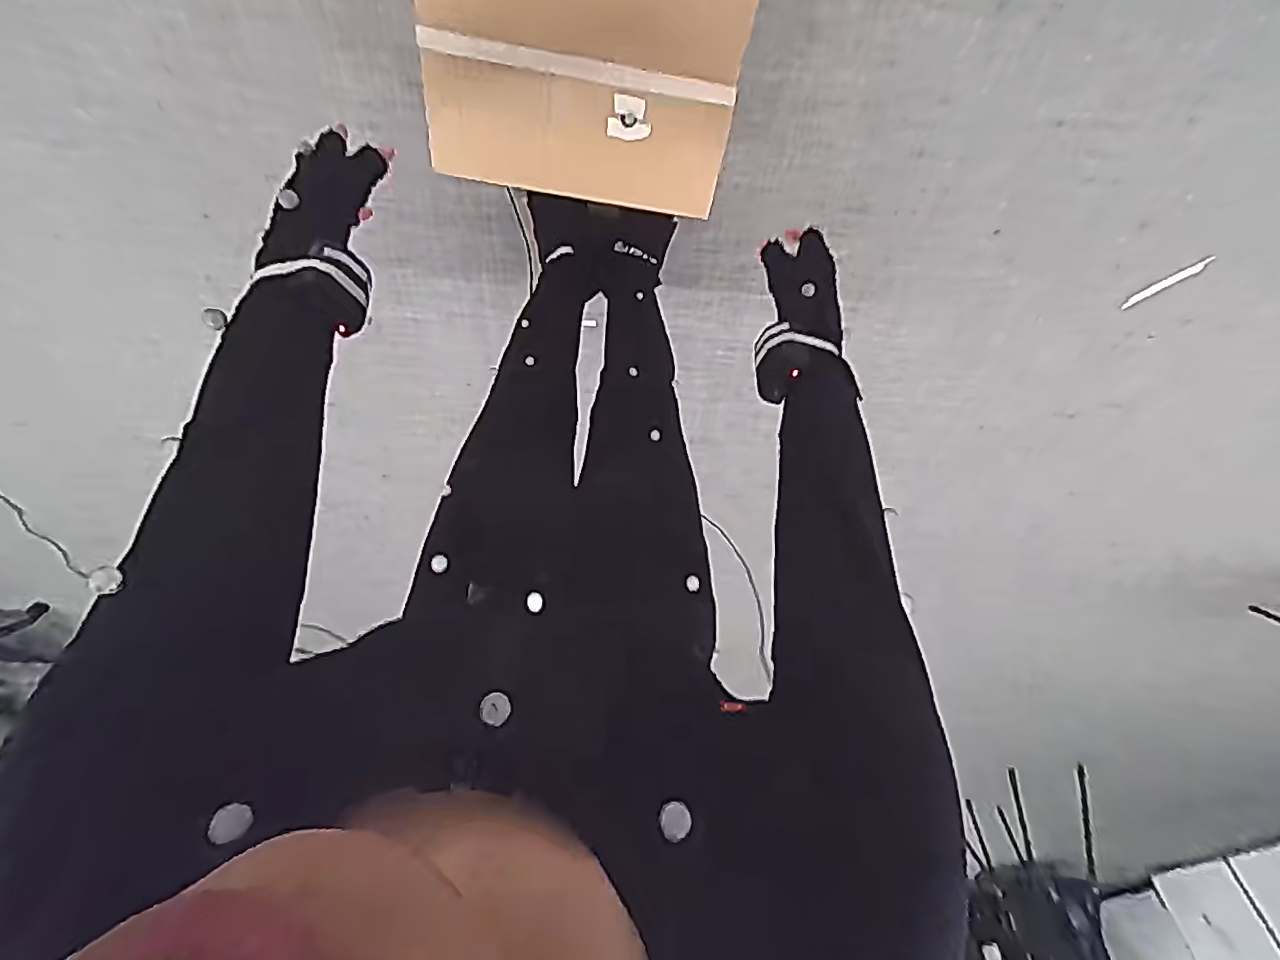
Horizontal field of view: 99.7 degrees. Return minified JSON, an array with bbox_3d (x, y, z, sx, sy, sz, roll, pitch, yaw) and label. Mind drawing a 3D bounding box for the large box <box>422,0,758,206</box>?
[{"bbox_3d":[-0.070,-0.636,0.786,0.408,0.320,0.320,6,135,-7],"label":"large box"}]
